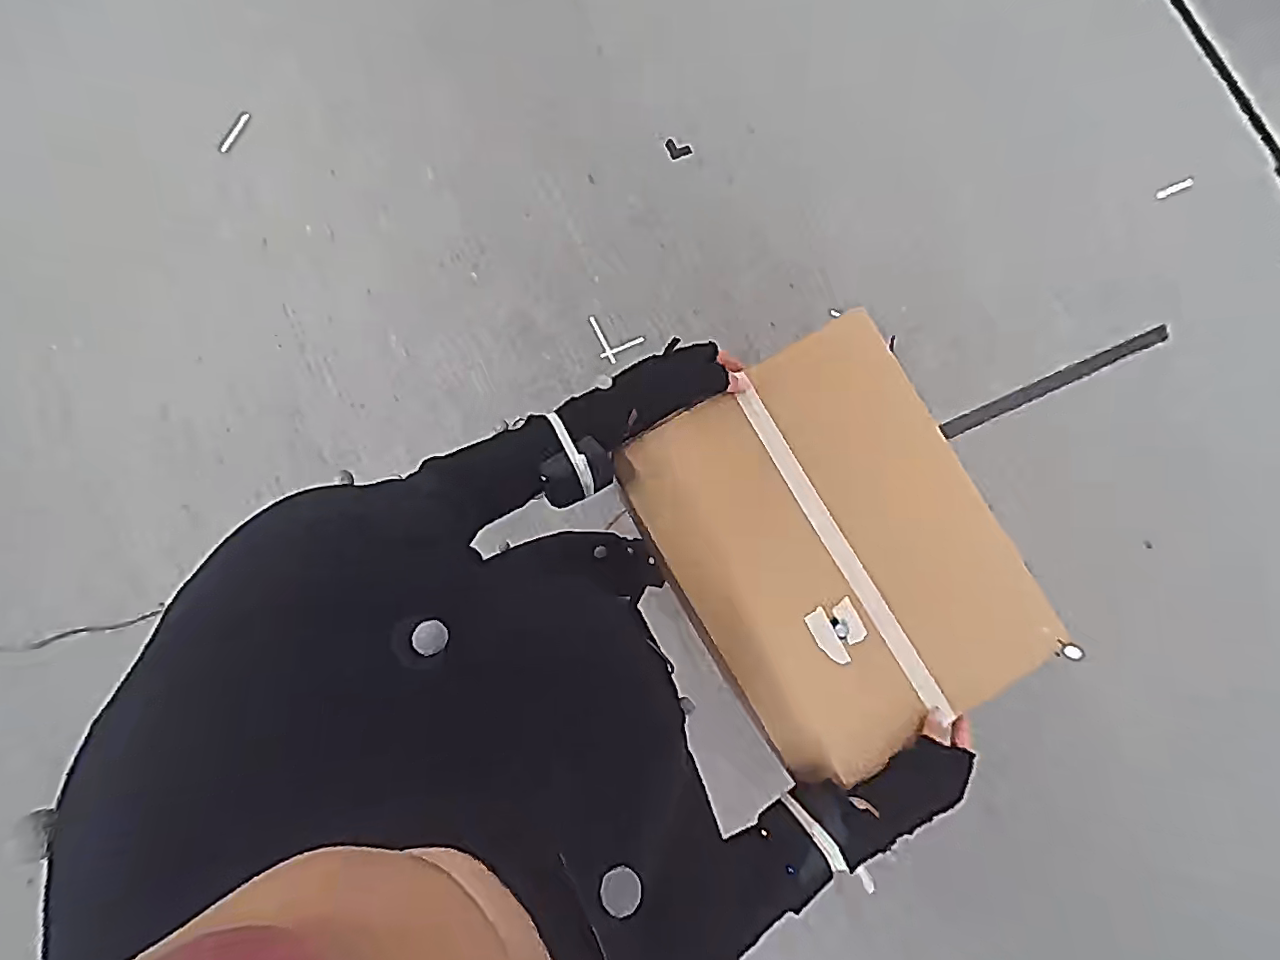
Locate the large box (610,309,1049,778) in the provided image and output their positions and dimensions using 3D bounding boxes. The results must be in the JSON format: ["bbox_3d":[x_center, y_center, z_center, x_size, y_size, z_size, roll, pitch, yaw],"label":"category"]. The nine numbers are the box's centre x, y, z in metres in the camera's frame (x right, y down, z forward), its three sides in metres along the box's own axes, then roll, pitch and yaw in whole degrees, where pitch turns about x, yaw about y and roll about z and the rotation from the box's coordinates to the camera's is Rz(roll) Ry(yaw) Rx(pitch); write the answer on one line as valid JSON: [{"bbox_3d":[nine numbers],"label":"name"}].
[{"bbox_3d":[0.190,0.067,0.709,0.320,0.320,0.408,-31,88,-4],"label":"large box"}]
